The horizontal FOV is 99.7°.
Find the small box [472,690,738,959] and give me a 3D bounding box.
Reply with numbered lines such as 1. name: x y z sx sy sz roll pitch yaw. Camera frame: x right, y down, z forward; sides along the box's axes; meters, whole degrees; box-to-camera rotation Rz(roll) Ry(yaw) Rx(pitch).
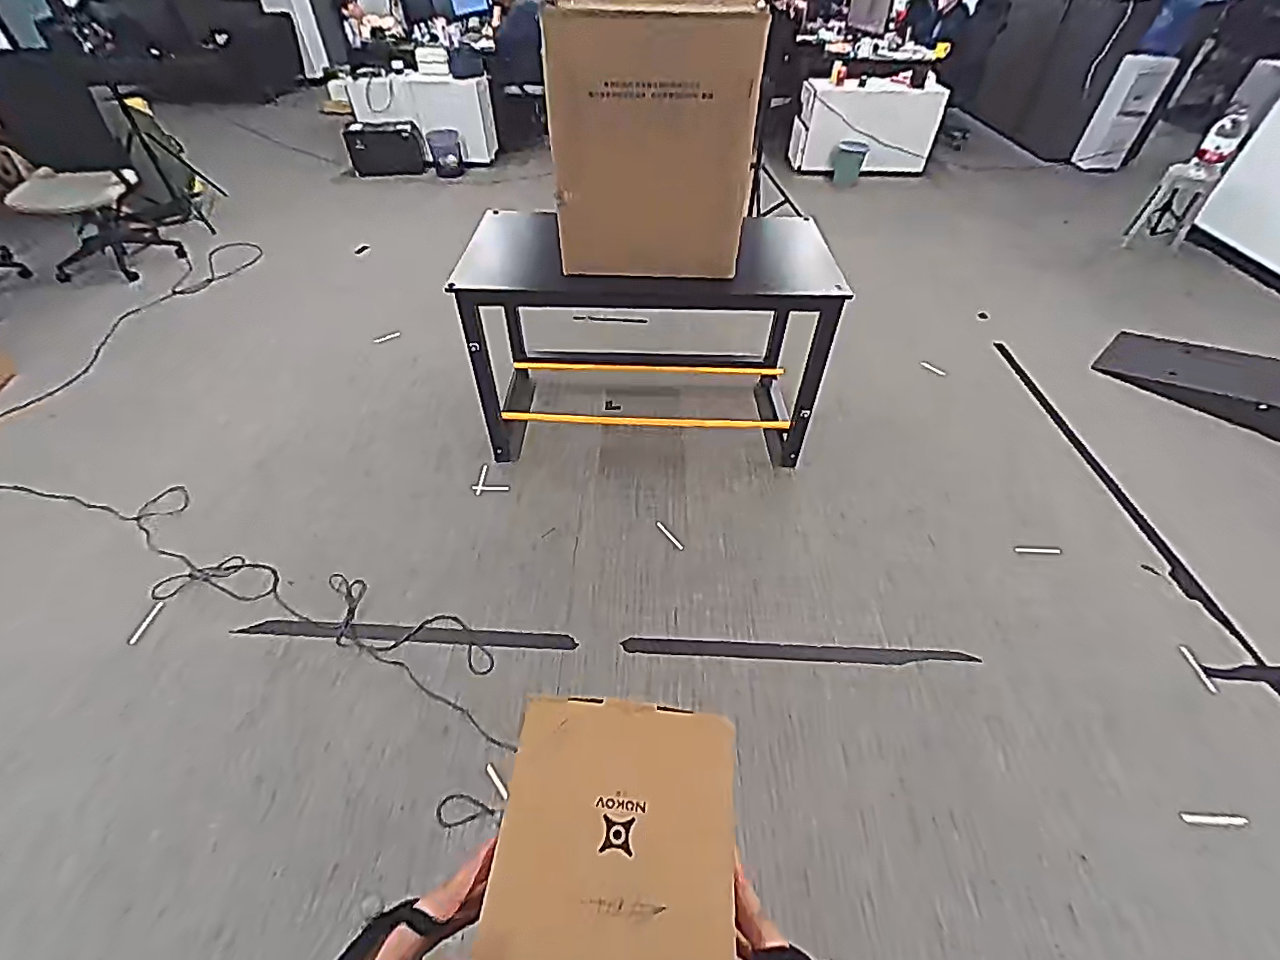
1. small box: -0.017 0.296 0.436 0.168 0.176 0.179 6 48 3
